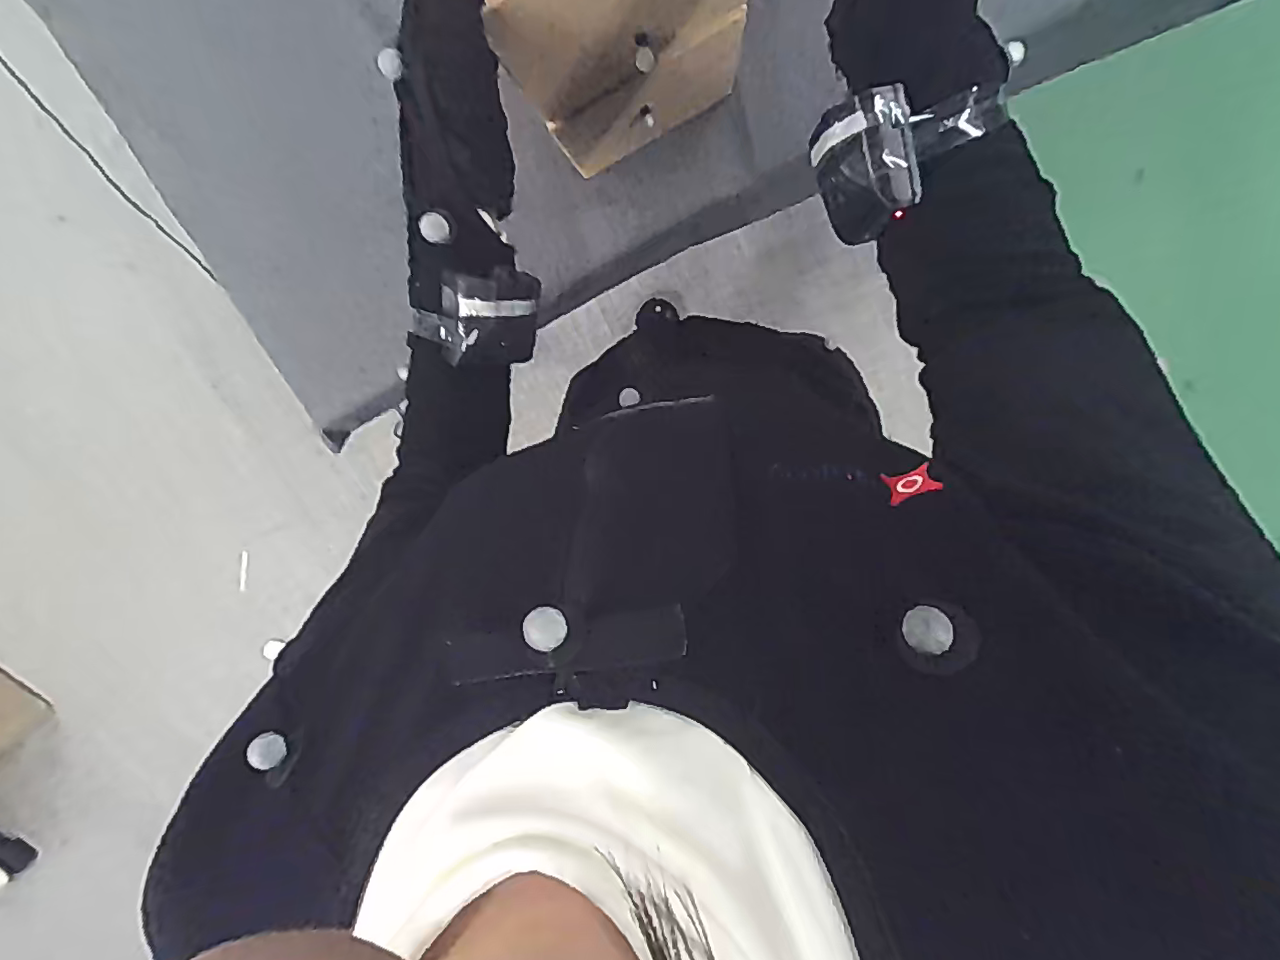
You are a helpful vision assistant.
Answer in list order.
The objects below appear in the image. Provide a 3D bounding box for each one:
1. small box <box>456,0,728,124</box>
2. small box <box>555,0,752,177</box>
[{"bbox_3d":[-0.042,-0.366,0.330,0.179,0.176,0.168,-24,102,12],"label":"small box"},{"bbox_3d":[-0.023,-0.412,0.487,0.179,0.176,0.168,-28,103,11],"label":"small box"}]
